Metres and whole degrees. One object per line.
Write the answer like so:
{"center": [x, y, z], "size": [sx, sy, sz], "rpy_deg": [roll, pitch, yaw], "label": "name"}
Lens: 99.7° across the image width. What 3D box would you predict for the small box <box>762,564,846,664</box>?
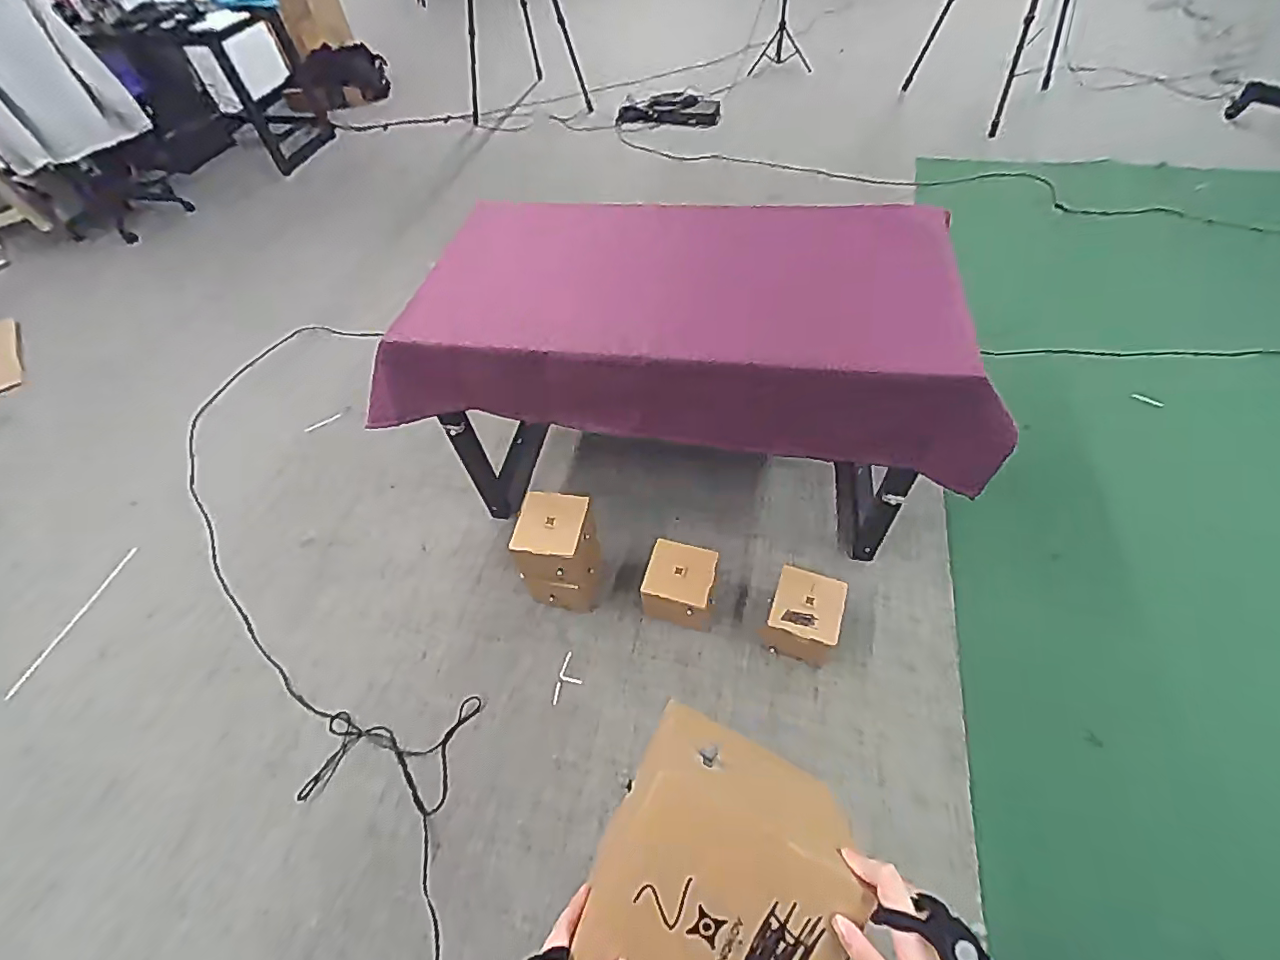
{"center": [0.419, 0.353, 1.405], "size": [0.168, 0.176, 0.179], "rpy_deg": [16, 56, 16], "label": "small box"}
